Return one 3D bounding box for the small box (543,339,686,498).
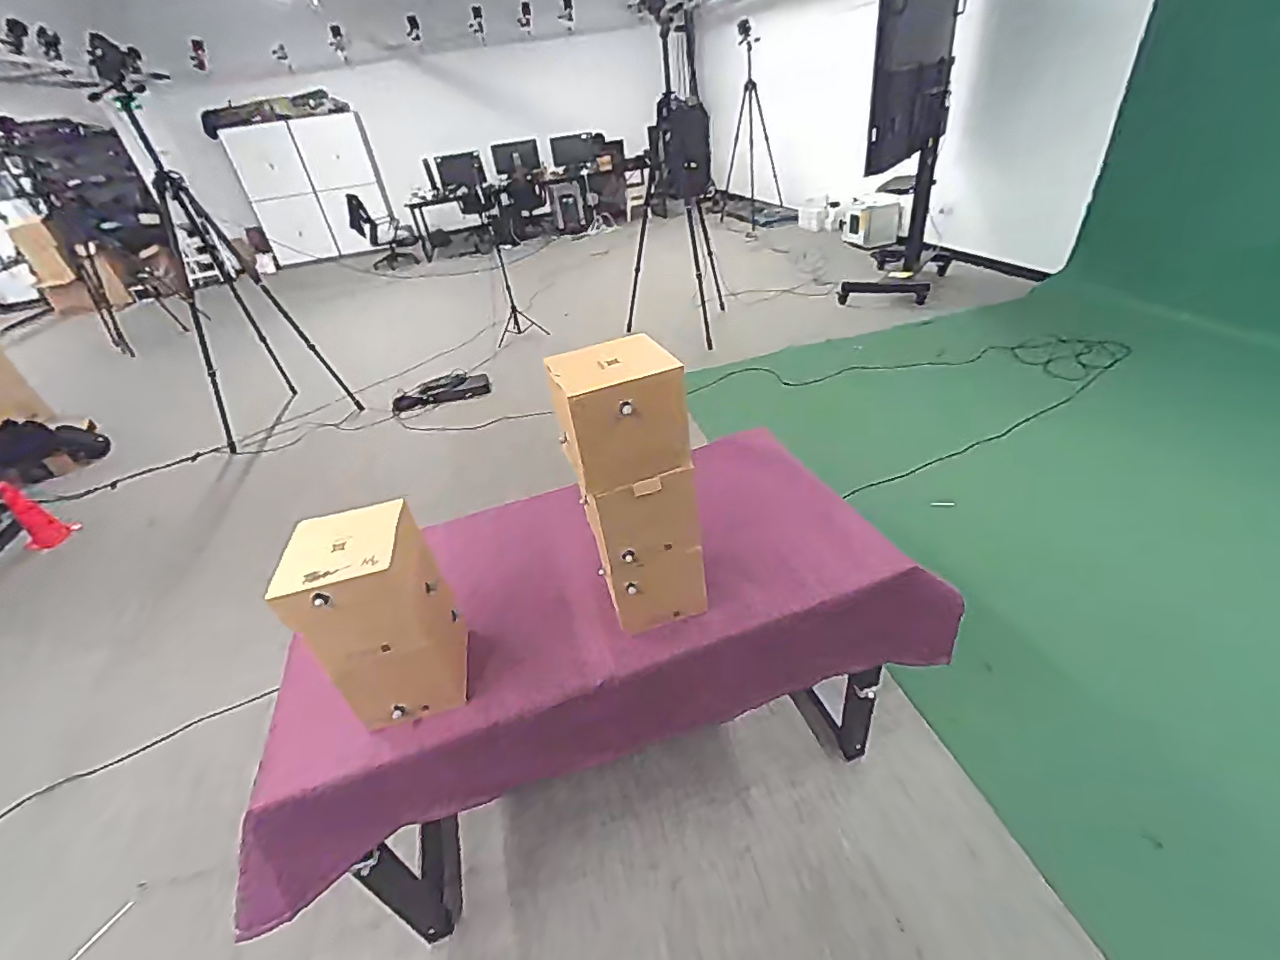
[{"bbox_3d":[-0.035,-0.099,0.853,0.179,0.176,0.168,-19,35,-12],"label":"small box"}]

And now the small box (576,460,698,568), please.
[{"bbox_3d":[-0.009,0.033,0.944,0.168,0.176,0.179,-17,34,-11],"label":"small box"}]

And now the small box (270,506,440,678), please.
[{"bbox_3d":[-0.426,0.172,0.846,0.168,0.176,0.179,-15,34,-6],"label":"small box"}]

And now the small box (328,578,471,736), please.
[{"bbox_3d":[-0.403,0.305,0.940,0.168,0.176,0.179,-14,35,-6],"label":"small box"}]
